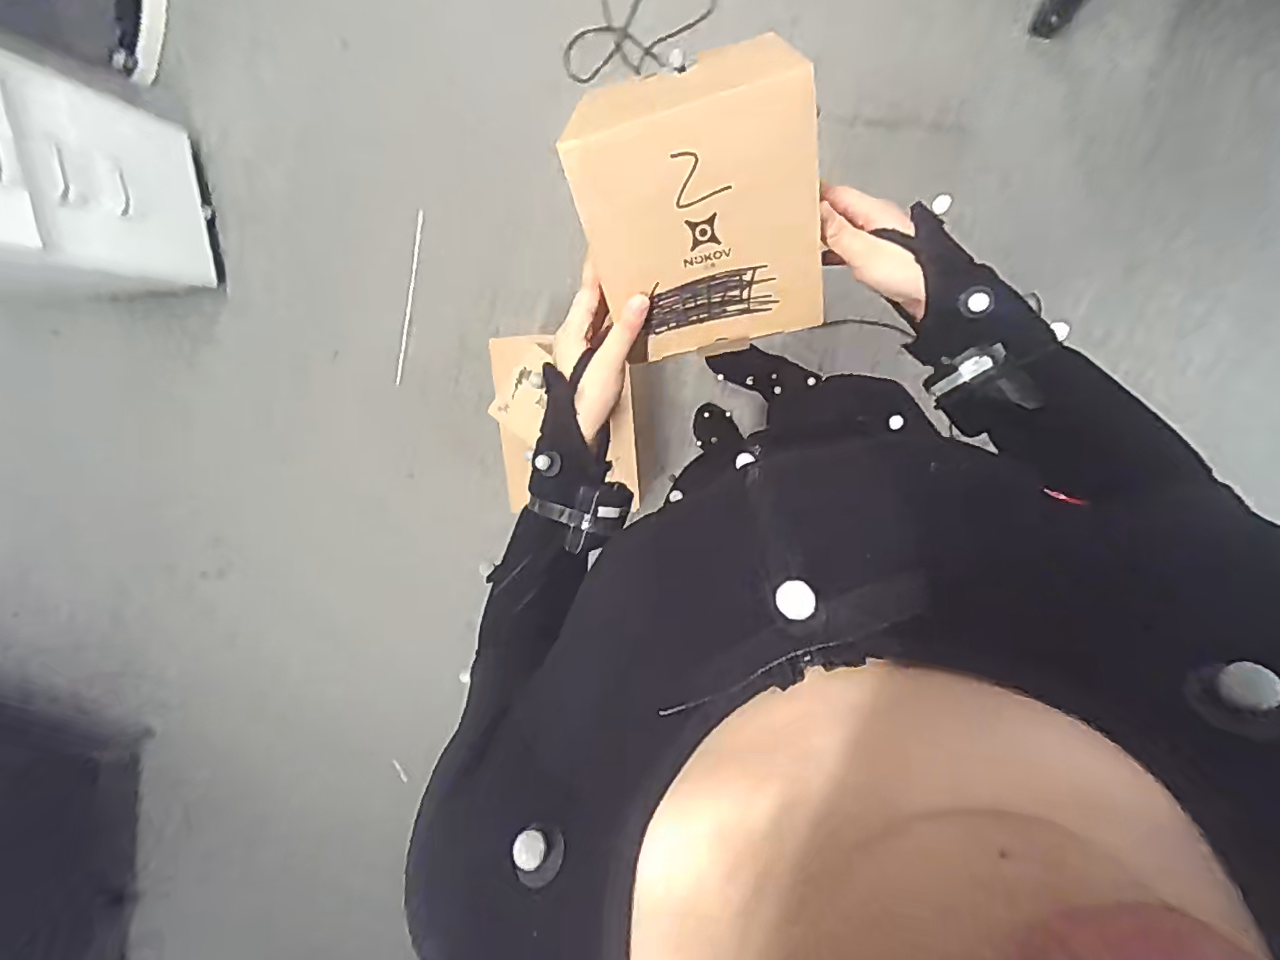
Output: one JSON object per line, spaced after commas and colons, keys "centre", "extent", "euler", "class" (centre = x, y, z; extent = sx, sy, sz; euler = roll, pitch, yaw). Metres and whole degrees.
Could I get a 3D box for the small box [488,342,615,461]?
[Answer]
{"centre": [-0.170, -0.166, 1.104], "extent": [0.179, 0.176, 0.168], "euler": [37, 105, -3], "class": "small box"}
